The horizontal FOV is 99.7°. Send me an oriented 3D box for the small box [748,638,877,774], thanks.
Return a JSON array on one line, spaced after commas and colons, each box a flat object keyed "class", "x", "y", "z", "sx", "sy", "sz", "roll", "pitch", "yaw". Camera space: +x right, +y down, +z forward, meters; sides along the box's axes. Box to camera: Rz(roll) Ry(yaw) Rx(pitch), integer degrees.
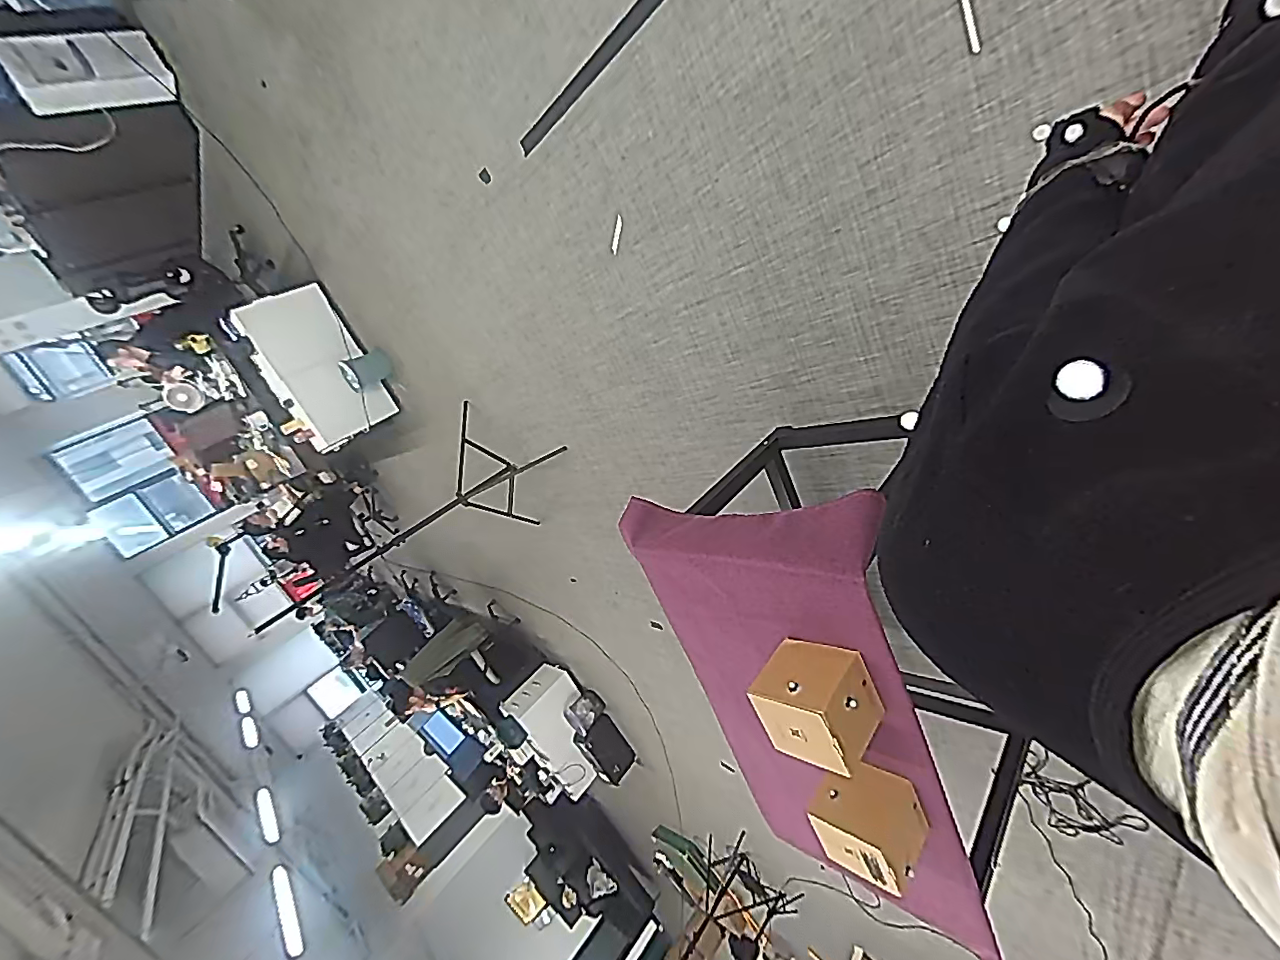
[{"class": "small box", "x": 0.357, "y": 0.444, "z": 1.096, "sx": 0.179, "sy": 0.176, "sz": 0.168, "roll": -6, "pitch": 117, "yaw": 51}]
